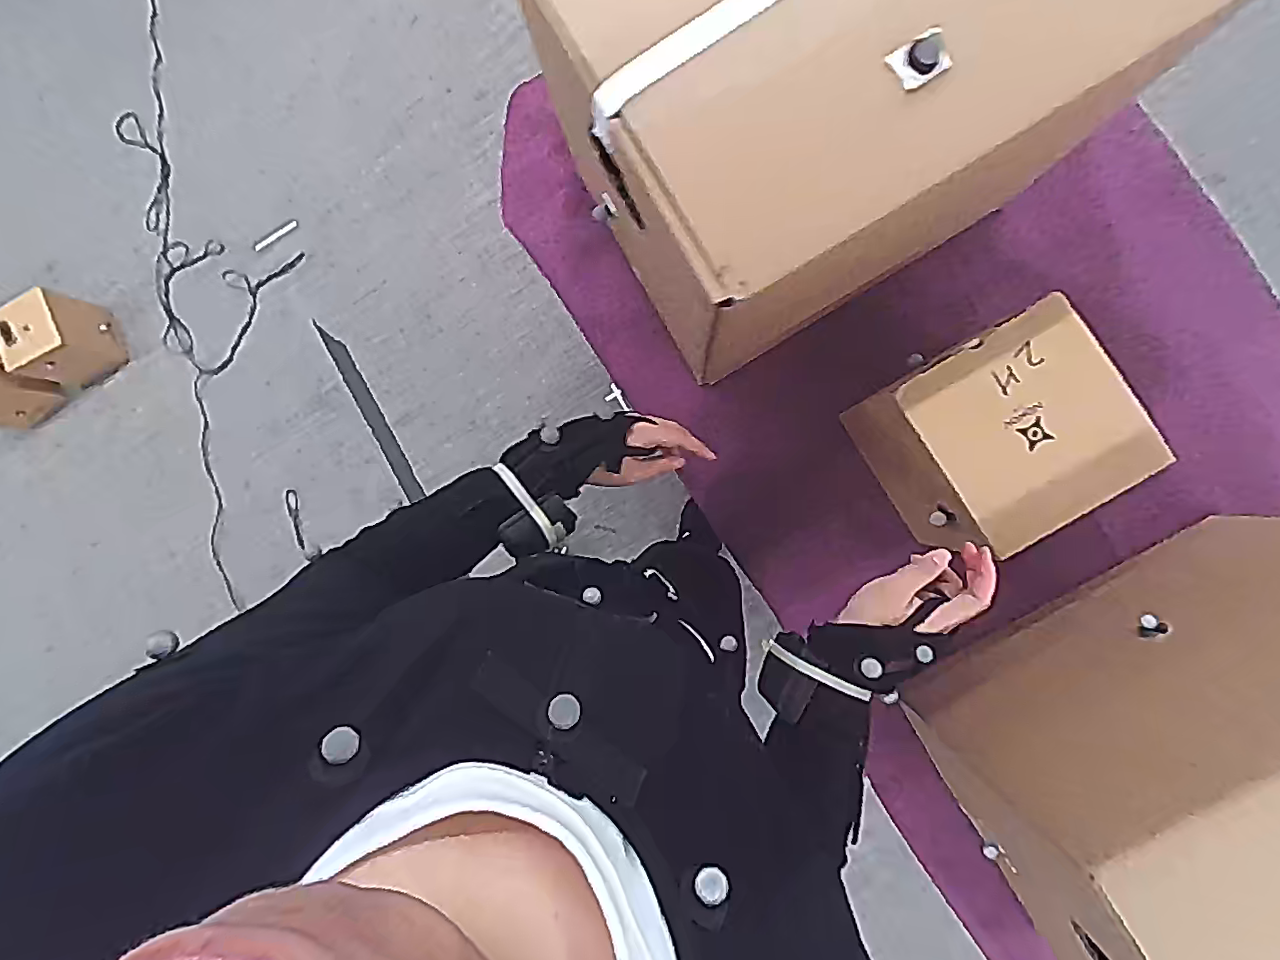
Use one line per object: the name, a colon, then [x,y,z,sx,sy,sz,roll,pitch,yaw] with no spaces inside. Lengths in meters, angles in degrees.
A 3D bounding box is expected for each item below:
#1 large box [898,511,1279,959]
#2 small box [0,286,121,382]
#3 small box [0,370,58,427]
large box: [0.519,0.255,0.444,0.408,0.320,0.320,-31,87,2]
small box: [-1.562,-0.380,1.441,0.179,0.176,0.168,-25,87,4]
small box: [-1.763,-0.261,1.460,0.168,0.176,0.179,-37,86,4]
